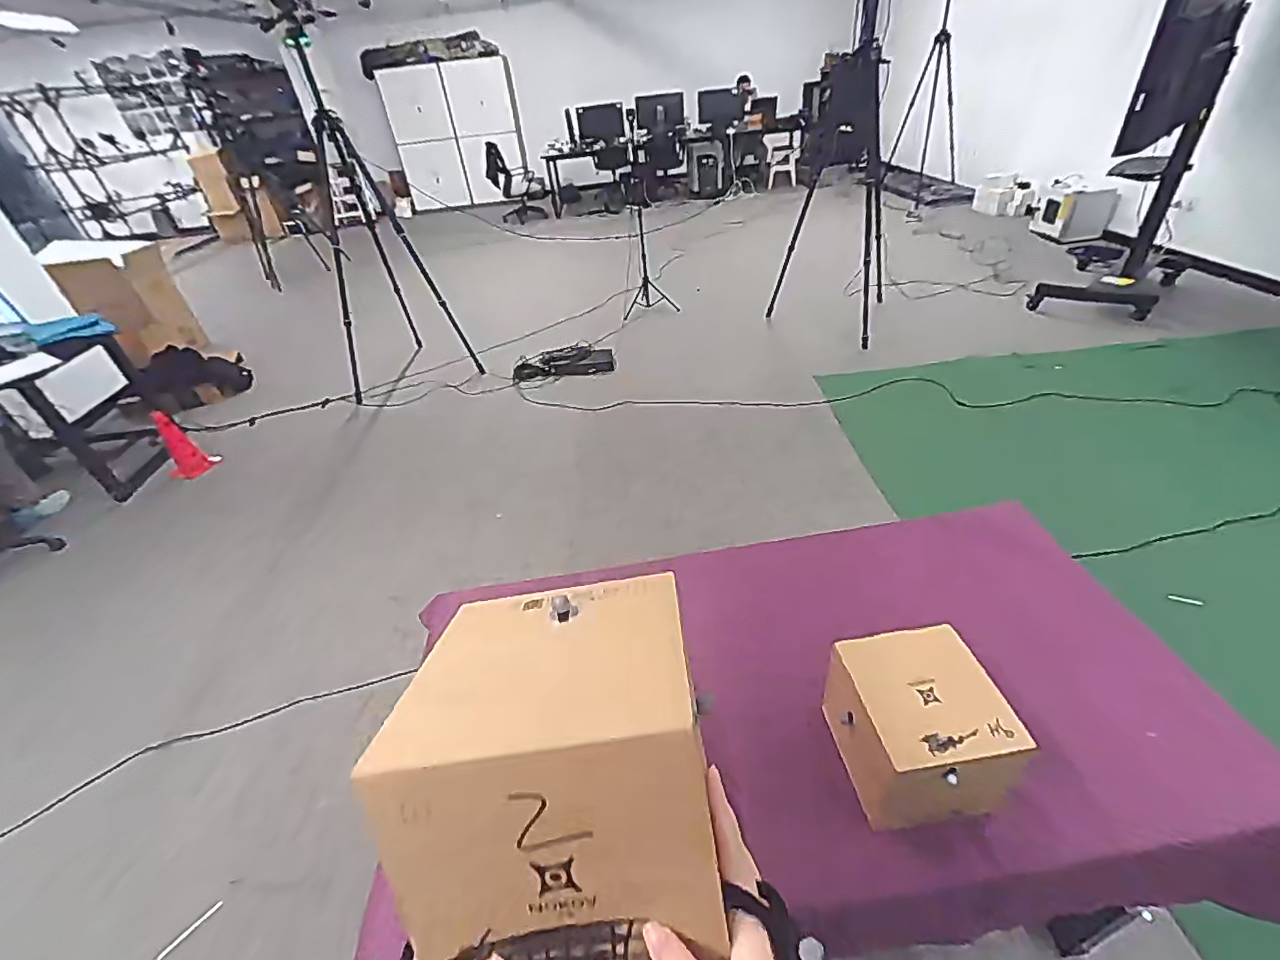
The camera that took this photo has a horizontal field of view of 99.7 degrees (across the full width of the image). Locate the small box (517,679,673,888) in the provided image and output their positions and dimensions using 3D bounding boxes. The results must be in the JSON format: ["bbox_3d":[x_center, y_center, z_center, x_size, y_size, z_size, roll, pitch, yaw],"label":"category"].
[{"bbox_3d":[-0.052,0.391,0.702,0.168,0.176,0.179,-9,38,0],"label":"small box"}]

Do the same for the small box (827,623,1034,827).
[{"bbox_3d":[0.362,0.321,0.717,0.168,0.176,0.179,-10,37,-1],"label":"small box"}]
